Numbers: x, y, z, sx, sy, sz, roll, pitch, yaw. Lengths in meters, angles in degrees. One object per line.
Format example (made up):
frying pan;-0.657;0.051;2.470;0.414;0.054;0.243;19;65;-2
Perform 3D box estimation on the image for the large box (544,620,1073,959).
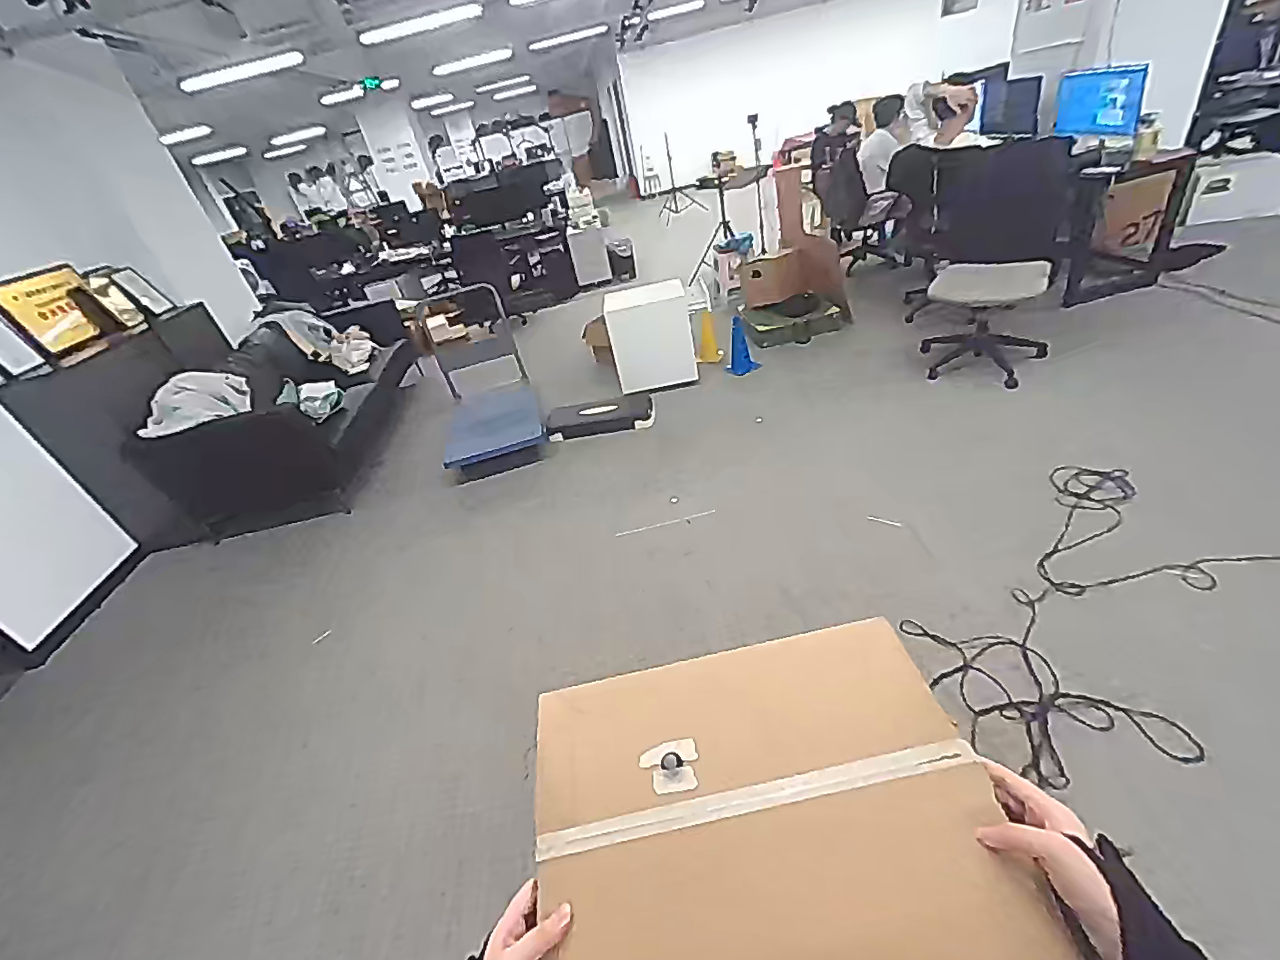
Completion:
large box;0.135;0.414;0.600;0.408;0.320;0.320;-15;39;2
